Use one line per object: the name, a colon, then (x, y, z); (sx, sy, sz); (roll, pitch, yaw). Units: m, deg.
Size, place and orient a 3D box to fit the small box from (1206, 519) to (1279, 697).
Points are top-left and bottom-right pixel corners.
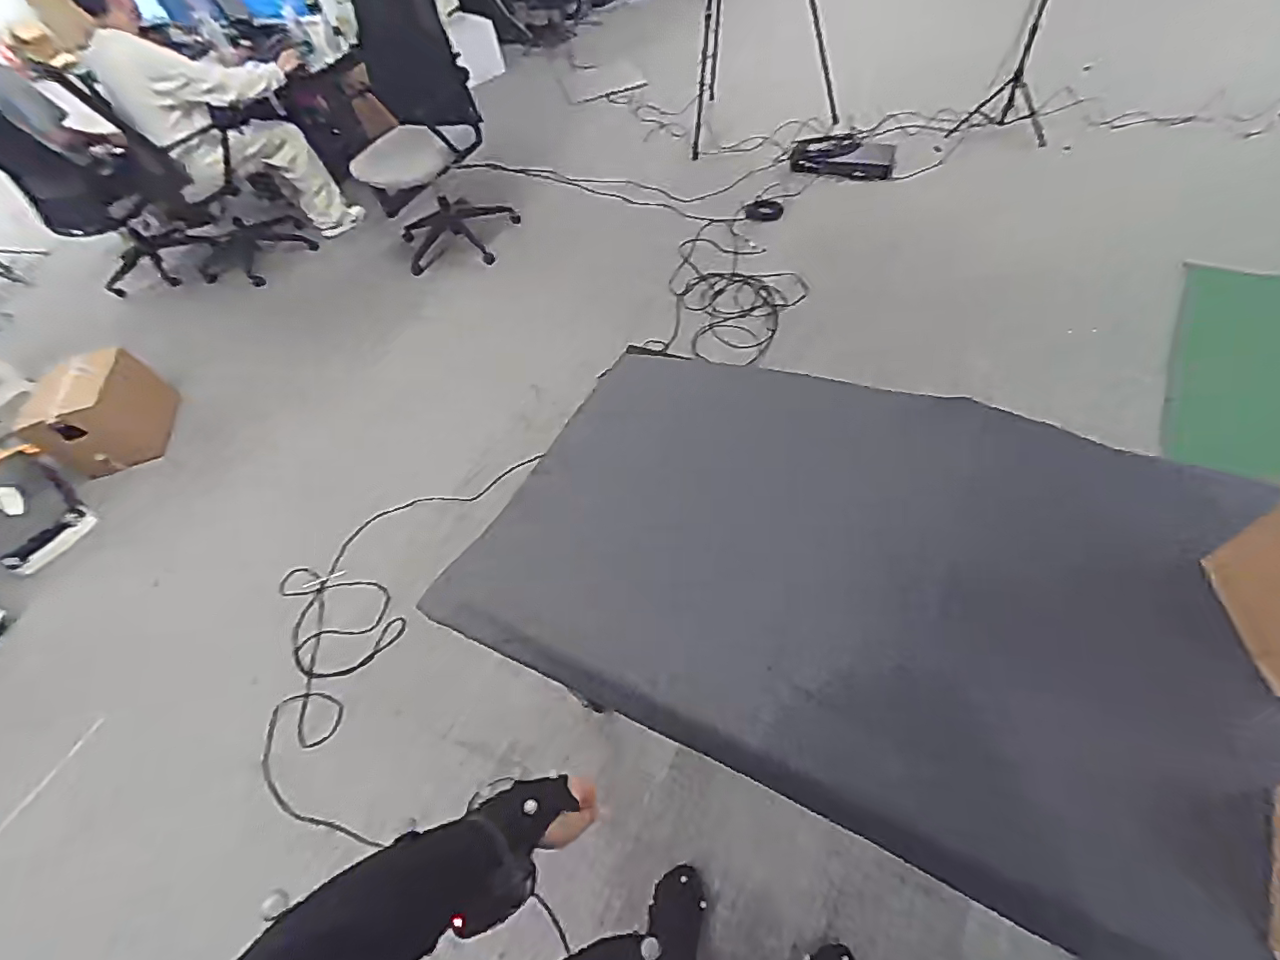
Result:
small box: (0.773, 0.131, 0.568); (0.168, 0.176, 0.179); (-2, 56, 13)
